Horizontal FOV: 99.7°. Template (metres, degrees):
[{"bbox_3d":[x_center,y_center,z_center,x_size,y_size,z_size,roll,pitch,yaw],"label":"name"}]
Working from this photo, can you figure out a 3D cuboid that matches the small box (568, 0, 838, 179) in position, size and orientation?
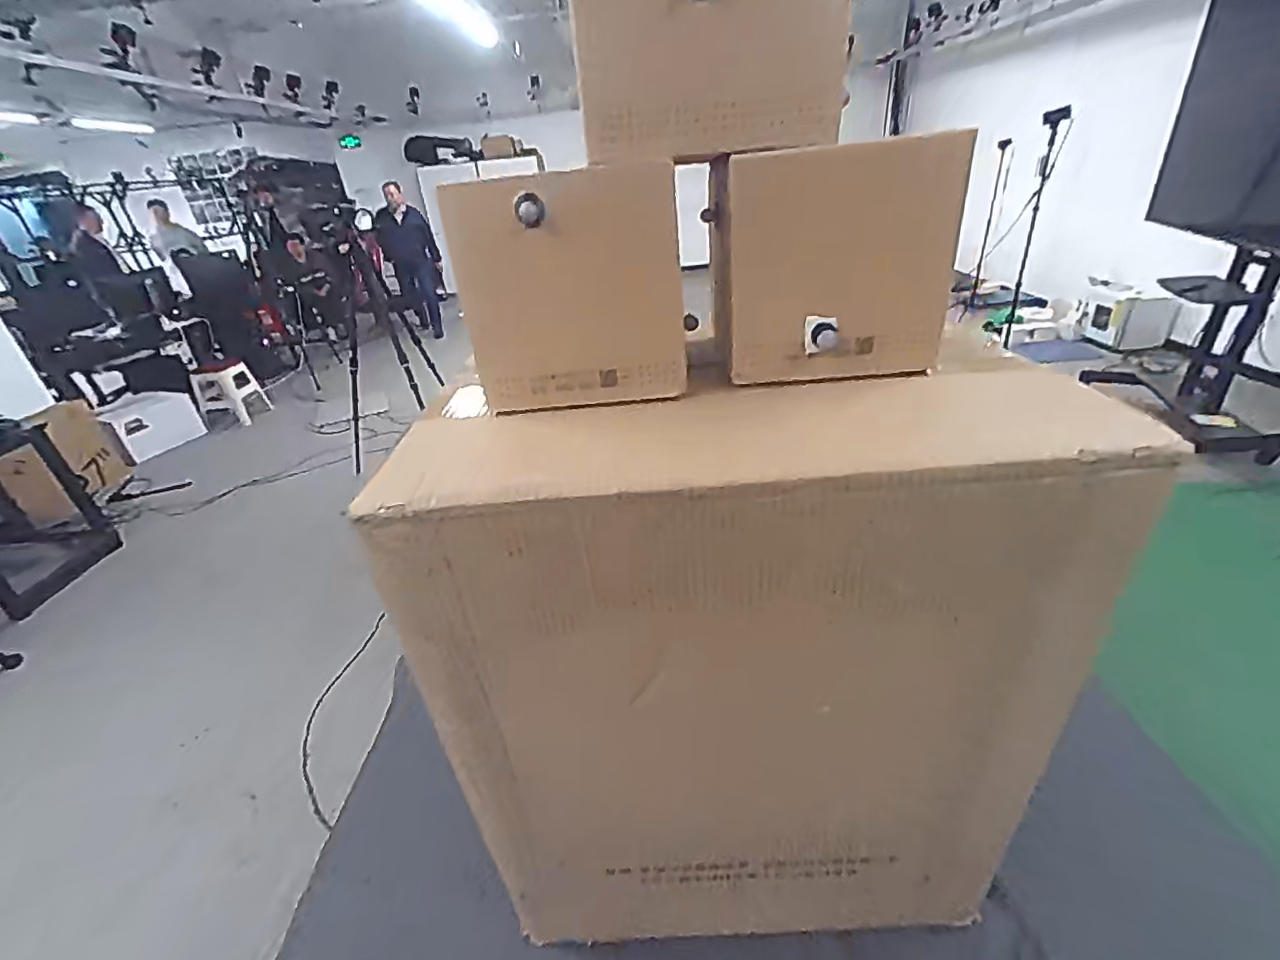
[{"bbox_3d":[0.043,-0.329,0.415,0.179,0.176,0.168,-5,27,2],"label":"small box"}]

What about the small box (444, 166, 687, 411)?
[{"bbox_3d":[-0.048,-0.170,0.483,0.168,0.176,0.179,-5,27,4],"label":"small box"}]
